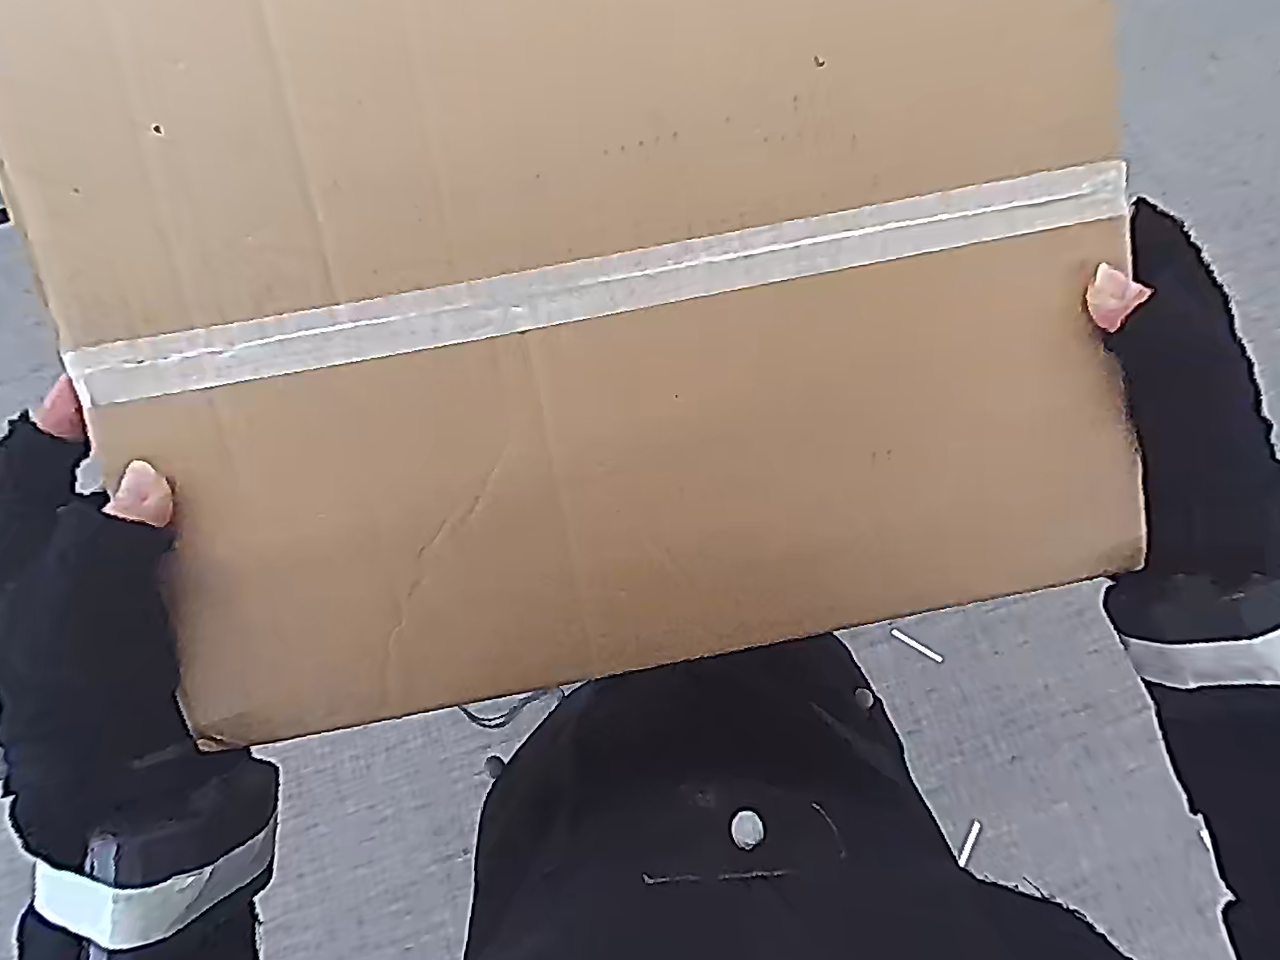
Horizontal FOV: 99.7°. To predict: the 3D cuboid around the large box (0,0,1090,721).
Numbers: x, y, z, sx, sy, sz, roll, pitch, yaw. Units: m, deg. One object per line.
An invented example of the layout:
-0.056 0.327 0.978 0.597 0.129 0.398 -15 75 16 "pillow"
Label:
-0.019 -0.101 0.368 0.408 0.320 0.320 -11 98 -2 "large box"
